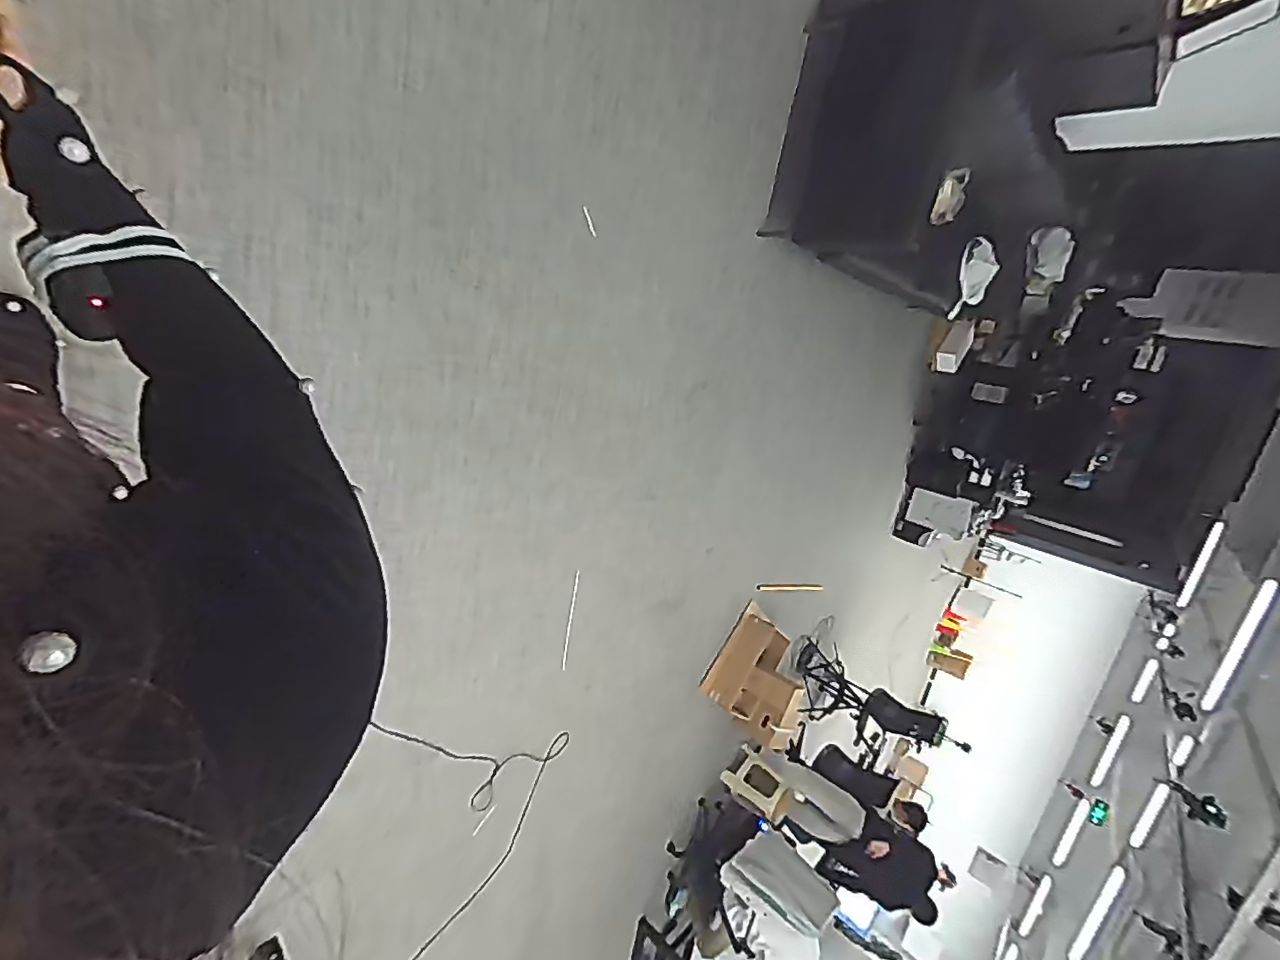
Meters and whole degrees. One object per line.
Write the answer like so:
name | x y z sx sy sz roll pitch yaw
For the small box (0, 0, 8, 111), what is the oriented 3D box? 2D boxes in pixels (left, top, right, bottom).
small box | -0.579 -0.398 0.384 0.168 0.176 0.179 1 102 -49
